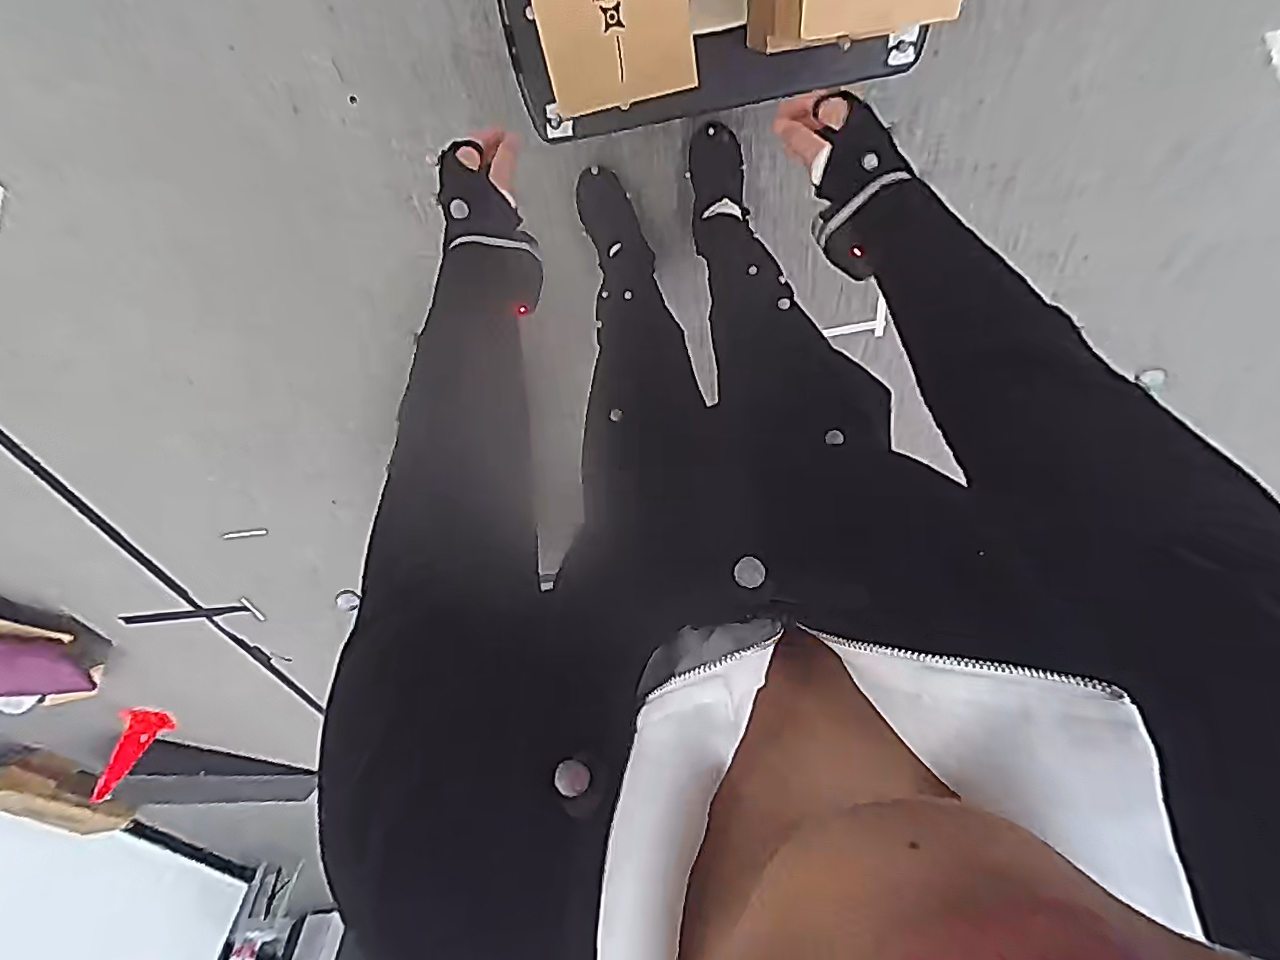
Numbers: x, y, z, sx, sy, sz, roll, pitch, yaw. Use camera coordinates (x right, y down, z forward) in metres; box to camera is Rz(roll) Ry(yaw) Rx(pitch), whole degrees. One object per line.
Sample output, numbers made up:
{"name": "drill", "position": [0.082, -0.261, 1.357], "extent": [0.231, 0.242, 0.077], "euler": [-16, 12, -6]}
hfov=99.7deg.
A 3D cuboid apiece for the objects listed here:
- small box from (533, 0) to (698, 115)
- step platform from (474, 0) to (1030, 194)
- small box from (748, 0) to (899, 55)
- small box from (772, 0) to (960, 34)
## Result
{"name": "small box", "position": [-0.032, -0.552, 0.626], "extent": [0.168, 0.176, 0.179], "euler": [-10, 131, 6]}
{"name": "step platform", "position": [0.137, -0.622, 0.744], "extent": [0.684, 0.204, 0.286], "euler": [-9, 131, 5]}
{"name": "small box", "position": [0.242, -0.697, 0.729], "extent": [0.179, 0.176, 0.168], "euler": [-8, 130, 5]}
{"name": "small box", "position": [0.247, -0.605, 0.594], "extent": [0.179, 0.176, 0.168], "euler": [-5, 131, 4]}
